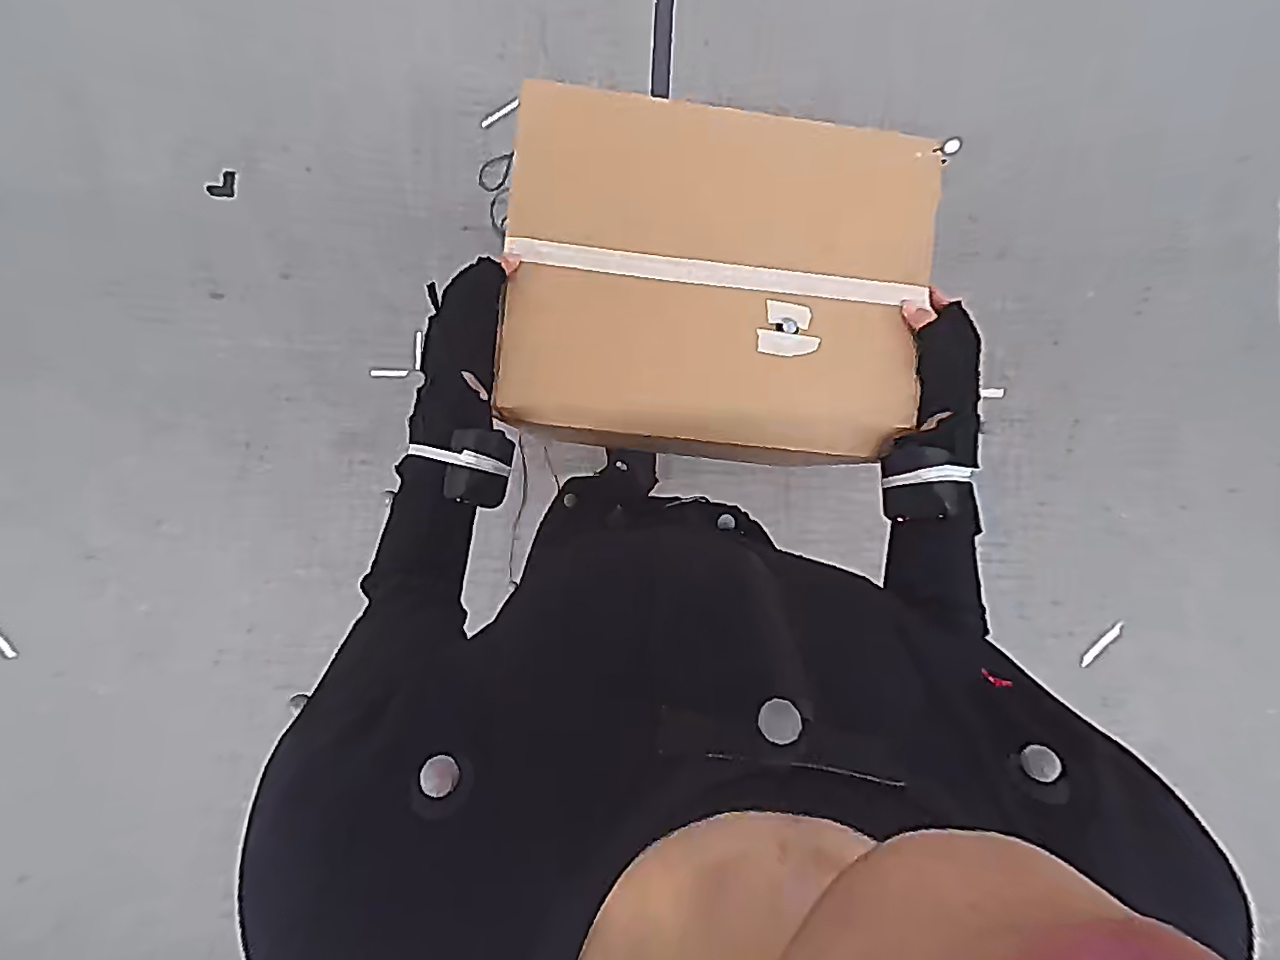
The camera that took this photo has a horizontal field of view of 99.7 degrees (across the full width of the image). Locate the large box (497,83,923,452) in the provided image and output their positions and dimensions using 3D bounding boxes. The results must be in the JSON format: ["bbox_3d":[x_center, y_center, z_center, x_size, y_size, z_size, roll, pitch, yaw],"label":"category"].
[{"bbox_3d":[0.060,-0.209,0.672,0.408,0.320,0.320,6,92,-5],"label":"large box"}]
